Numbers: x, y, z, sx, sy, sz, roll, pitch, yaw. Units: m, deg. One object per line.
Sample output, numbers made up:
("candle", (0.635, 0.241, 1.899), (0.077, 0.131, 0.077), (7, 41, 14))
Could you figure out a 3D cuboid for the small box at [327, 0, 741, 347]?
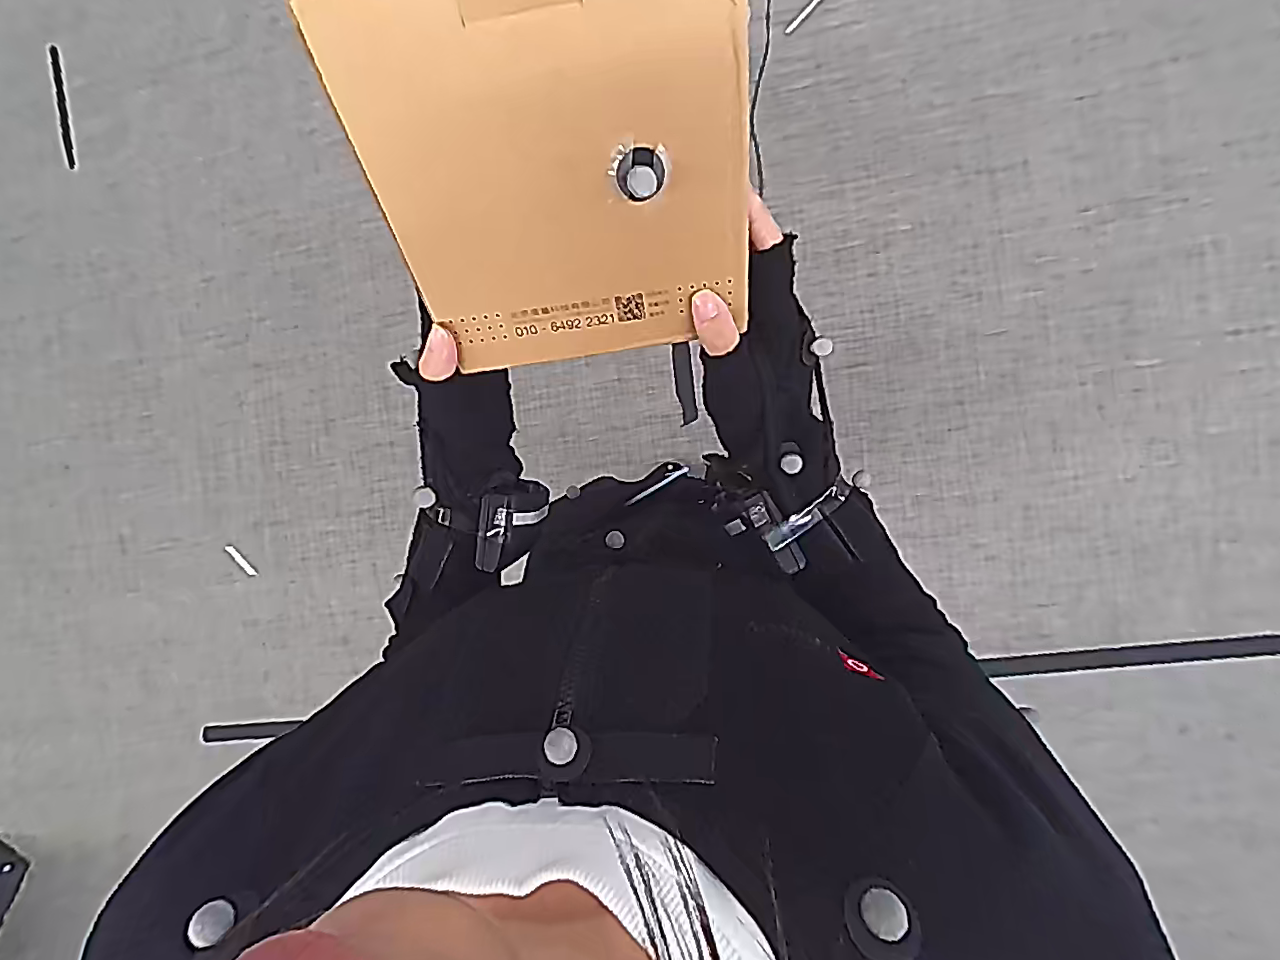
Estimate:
("small box", (-0.033, -0.192, 0.318), (0.168, 0.176, 0.179), (-6, 46, 5))
